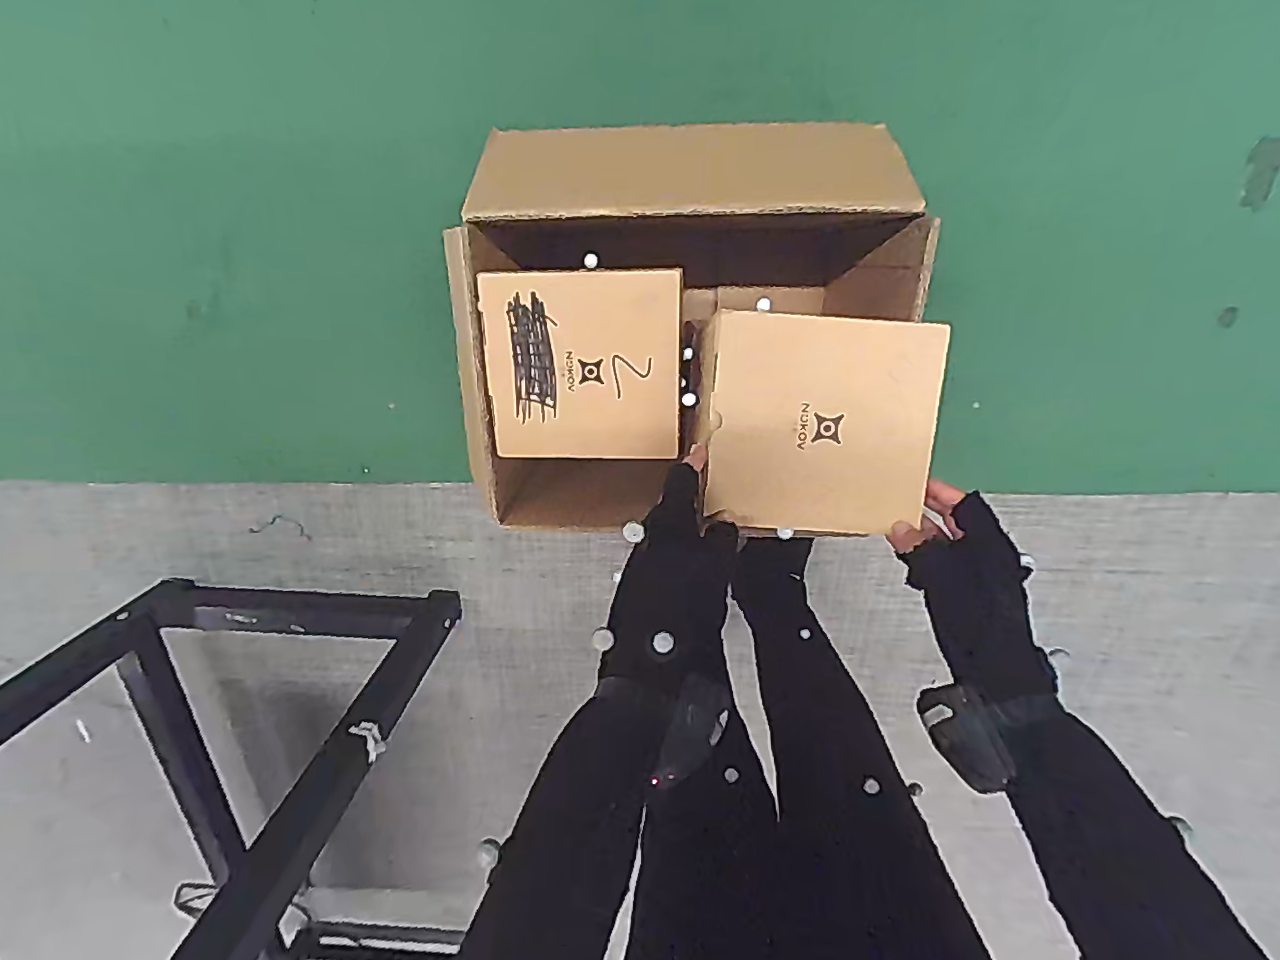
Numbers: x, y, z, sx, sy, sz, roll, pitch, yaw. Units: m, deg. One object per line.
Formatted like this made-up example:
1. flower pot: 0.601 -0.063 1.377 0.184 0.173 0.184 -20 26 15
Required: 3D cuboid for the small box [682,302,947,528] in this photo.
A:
1. small box: 0.136 -0.063 0.491 0.179 0.176 0.168 4 101 1
